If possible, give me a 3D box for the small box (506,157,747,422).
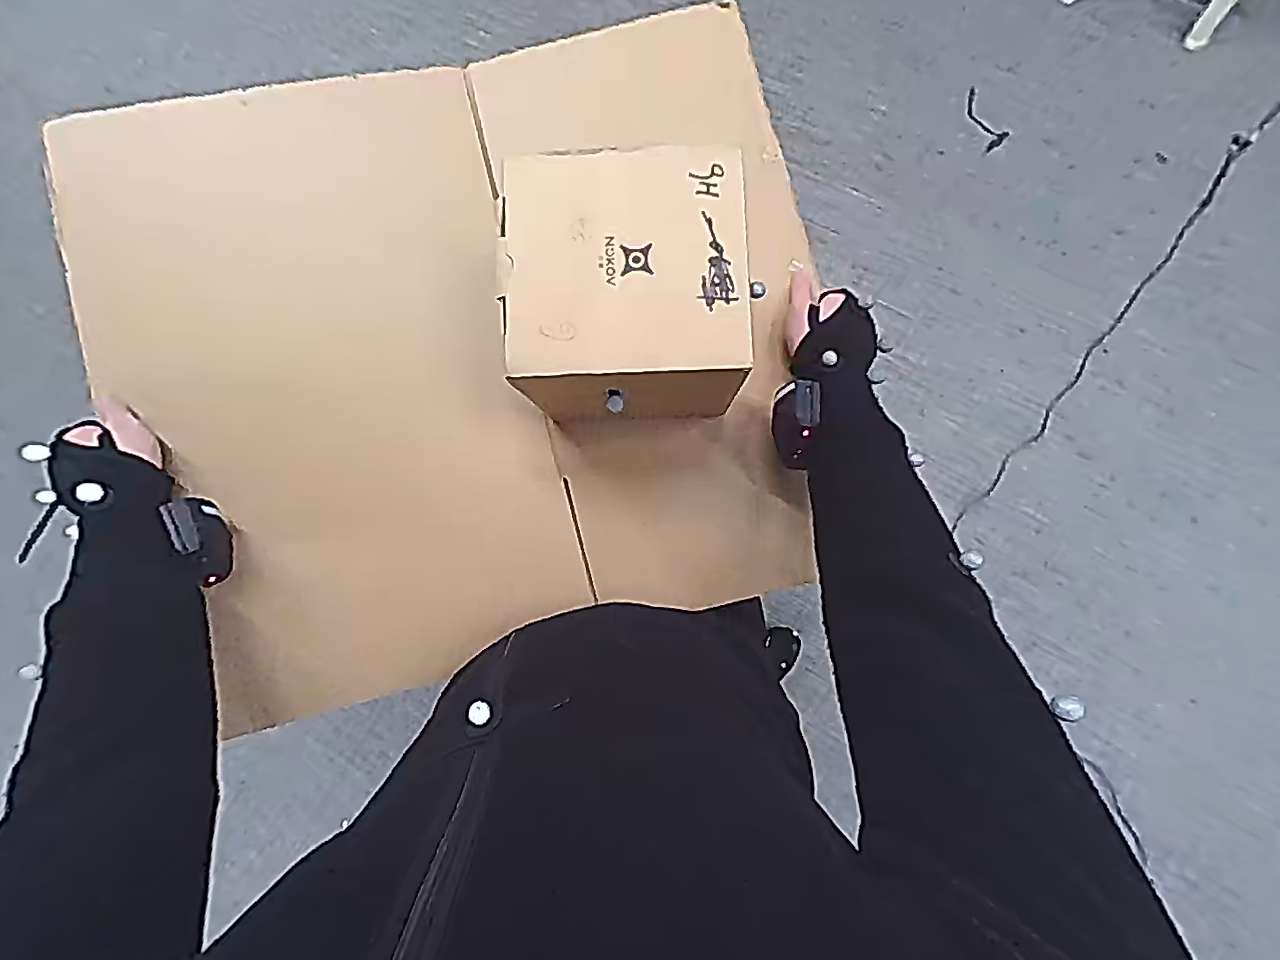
[{"bbox_3d":[-0.007,-0.148,0.476,0.179,0.176,0.168,-3,86,3],"label":"small box"}]
